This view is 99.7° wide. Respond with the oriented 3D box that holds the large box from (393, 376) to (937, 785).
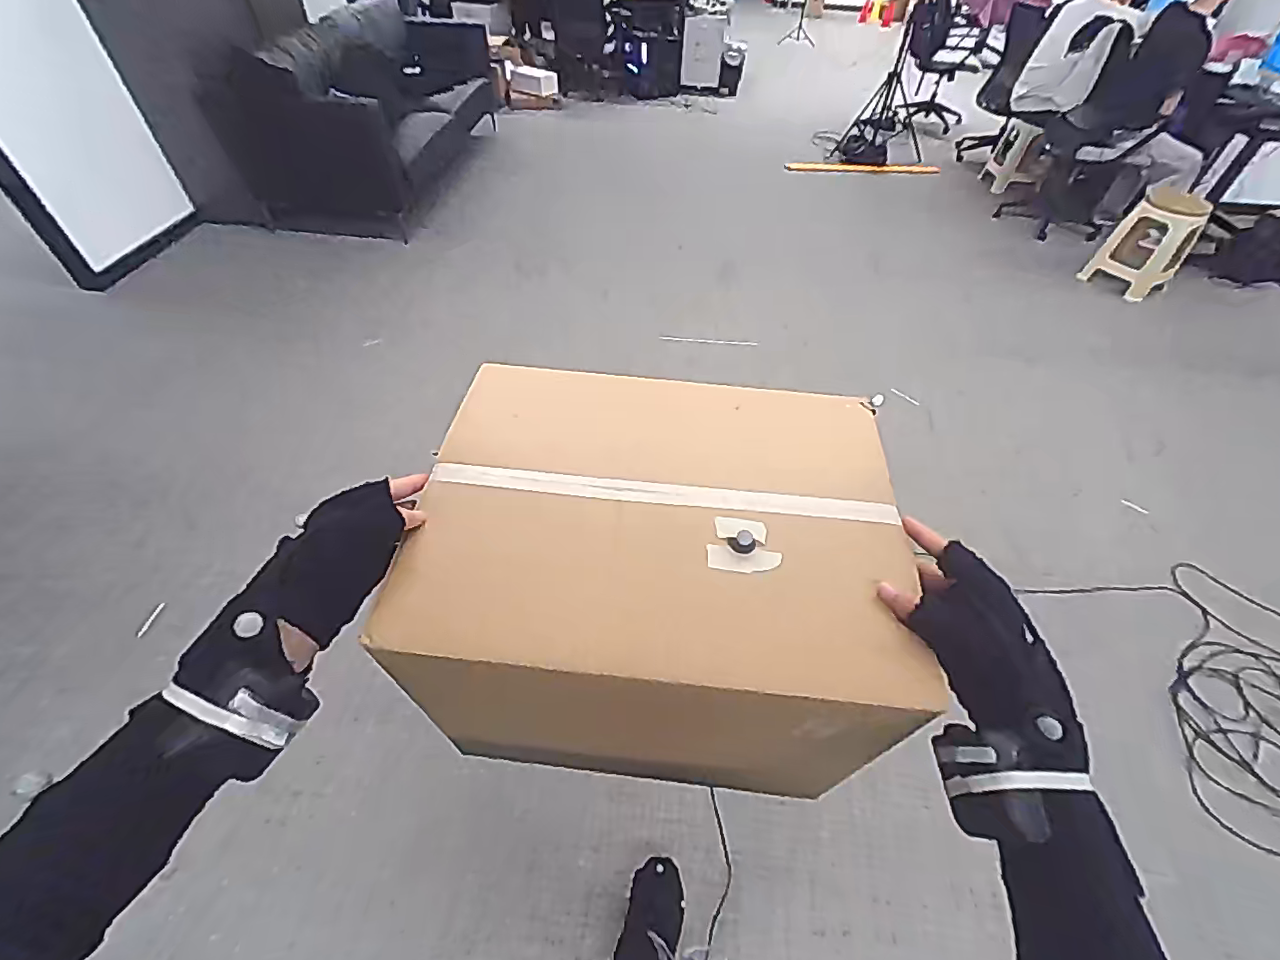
[{"bbox_3d":[0.020,0.116,0.595,0.408,0.320,0.320,6,51,1],"label":"large box"}]
